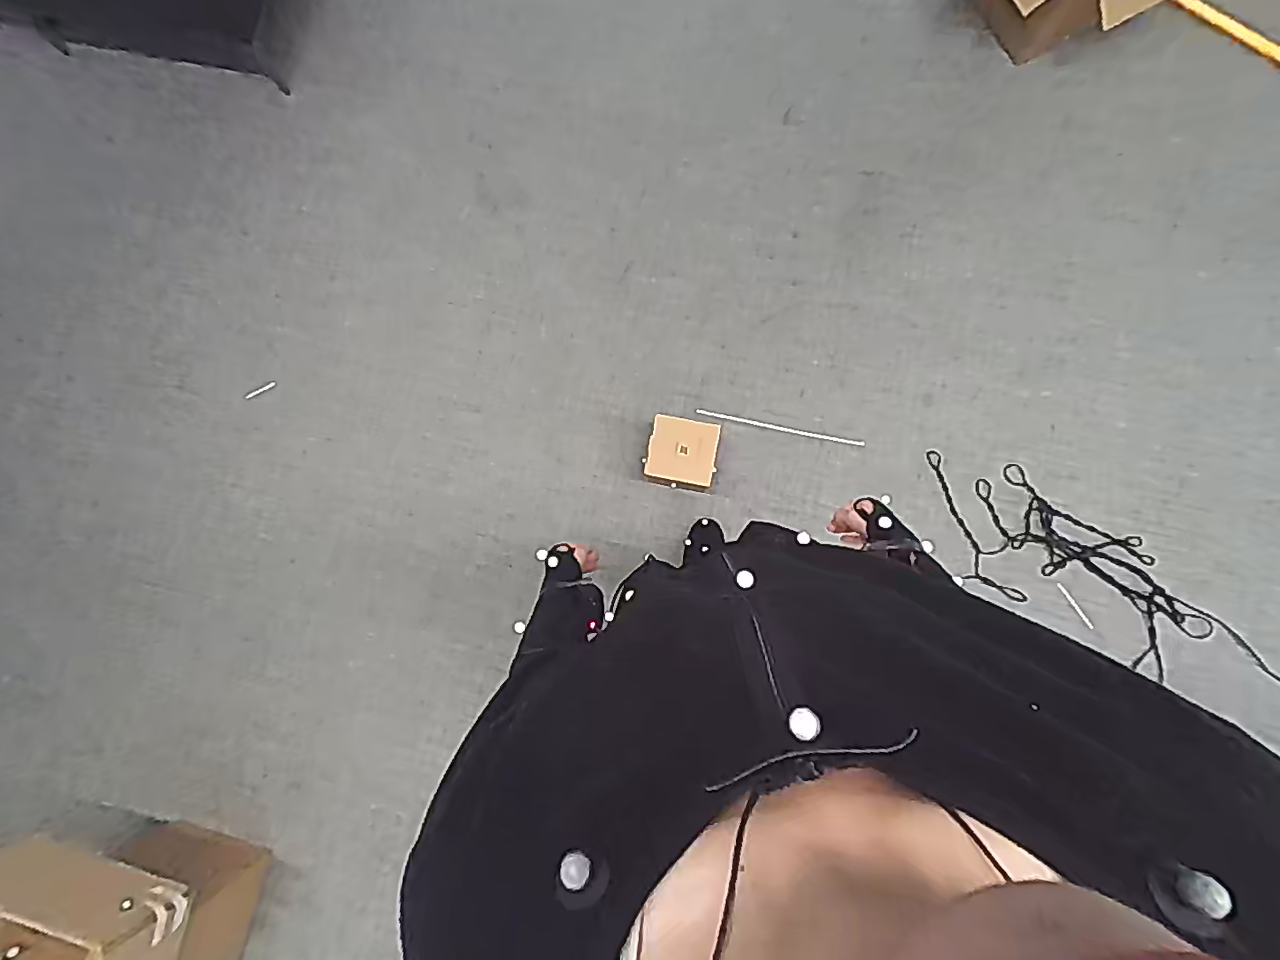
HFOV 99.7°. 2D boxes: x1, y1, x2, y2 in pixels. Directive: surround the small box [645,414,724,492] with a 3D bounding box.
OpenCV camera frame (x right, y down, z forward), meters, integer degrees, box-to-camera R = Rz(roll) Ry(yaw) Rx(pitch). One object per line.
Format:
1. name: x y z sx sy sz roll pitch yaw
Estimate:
1. small box: 0.120 -0.066 1.458 0.179 0.176 0.168 12 84 5
